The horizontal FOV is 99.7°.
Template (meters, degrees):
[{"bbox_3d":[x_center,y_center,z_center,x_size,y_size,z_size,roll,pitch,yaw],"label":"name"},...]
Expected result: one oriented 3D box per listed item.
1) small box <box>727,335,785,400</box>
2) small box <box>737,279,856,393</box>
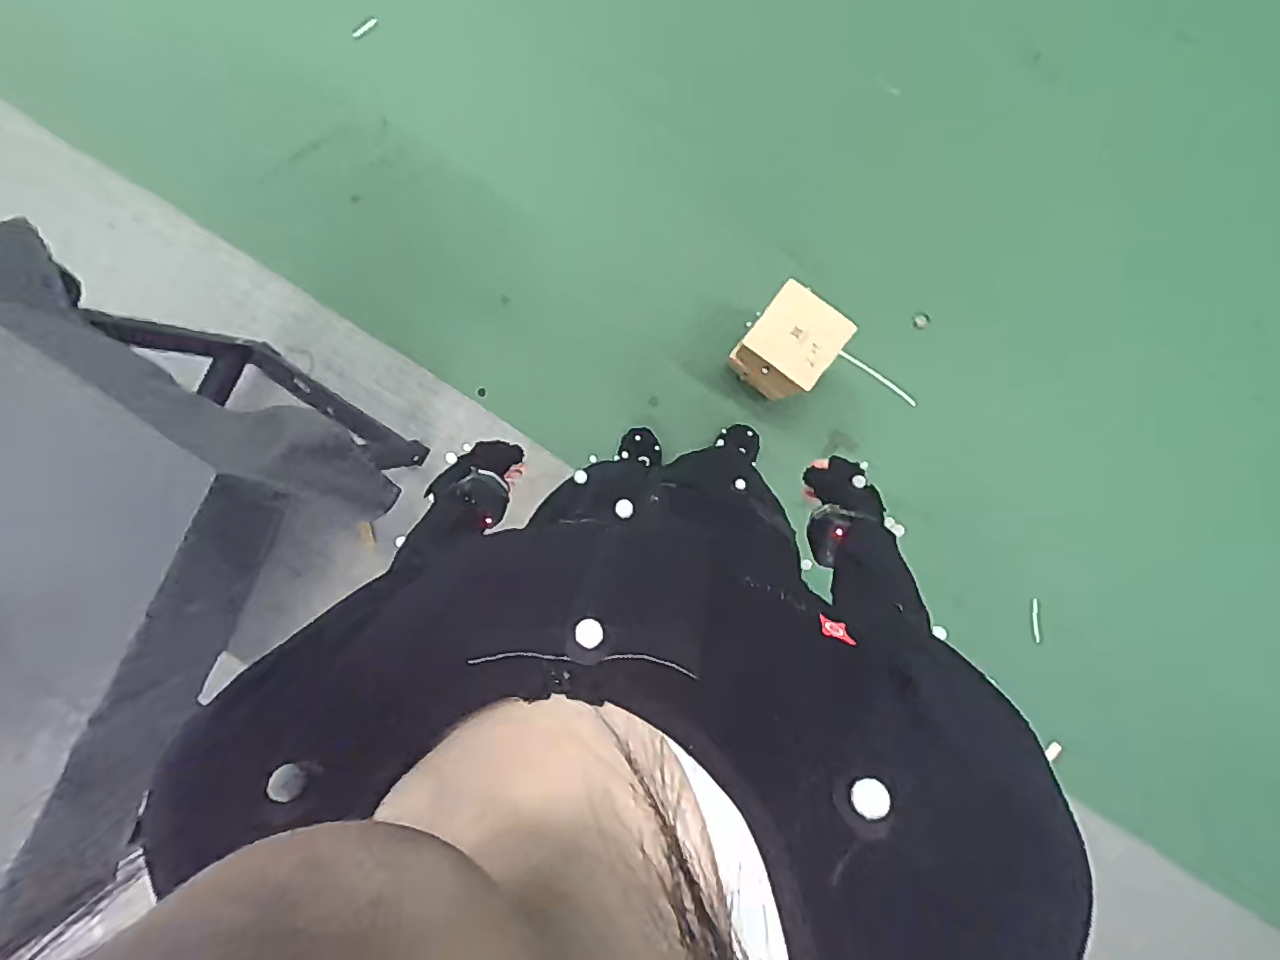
[{"bbox_3d":[0.332,-0.315,1.358,0.168,0.176,0.179,38,96,1],"label":"small box"},{"bbox_3d":[0.332,-0.304,1.193,0.179,0.176,0.168,37,97,0],"label":"small box"}]
